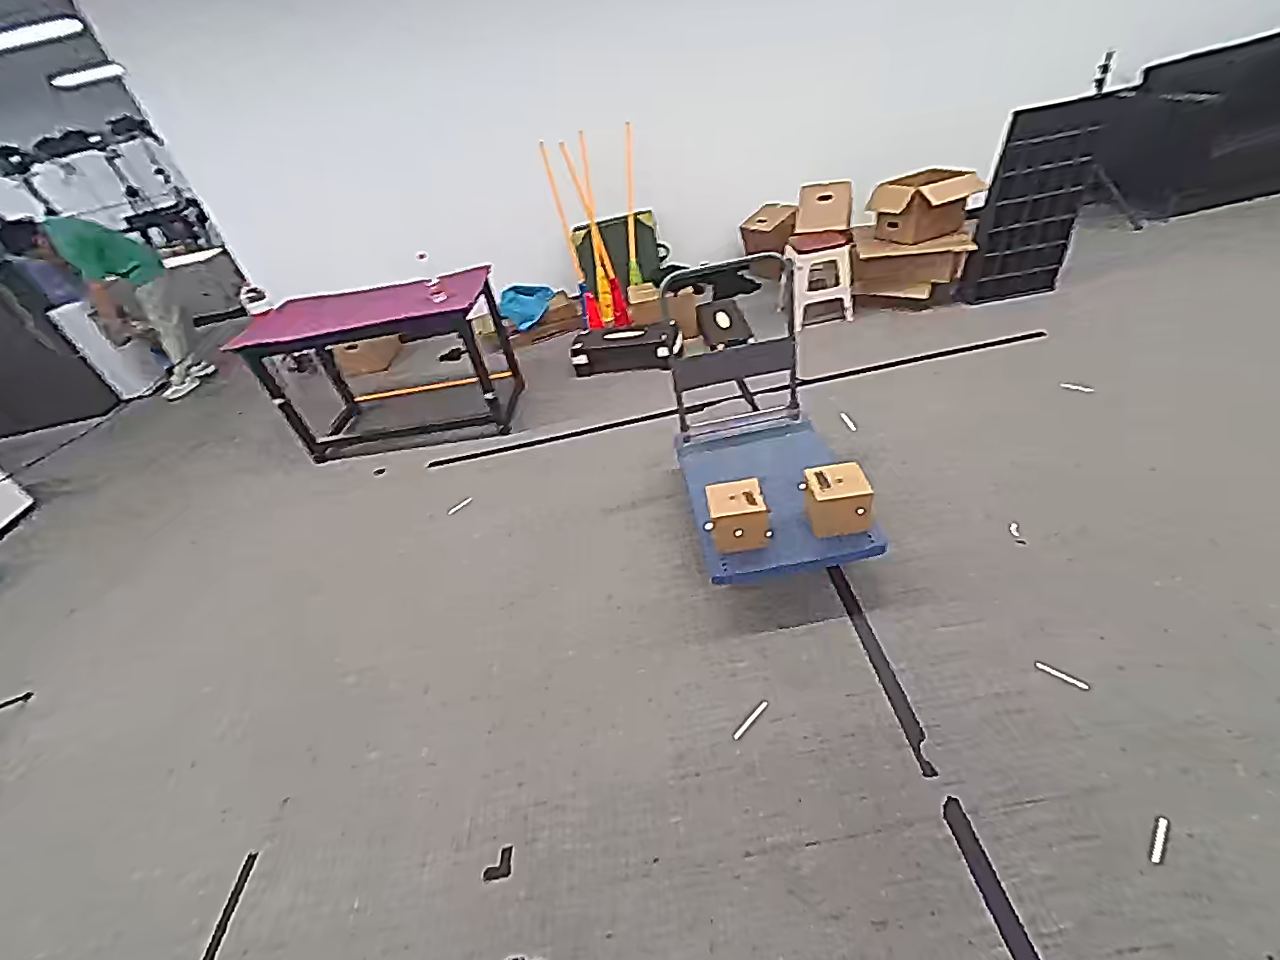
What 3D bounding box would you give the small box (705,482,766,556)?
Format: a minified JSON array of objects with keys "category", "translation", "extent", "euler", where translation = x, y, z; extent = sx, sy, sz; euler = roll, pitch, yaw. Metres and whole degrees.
[{"category":"small box","translation":[0.321,0.133,1.807],"extent":[0.179,0.176,0.168],"euler":[-10,37,6]}]
